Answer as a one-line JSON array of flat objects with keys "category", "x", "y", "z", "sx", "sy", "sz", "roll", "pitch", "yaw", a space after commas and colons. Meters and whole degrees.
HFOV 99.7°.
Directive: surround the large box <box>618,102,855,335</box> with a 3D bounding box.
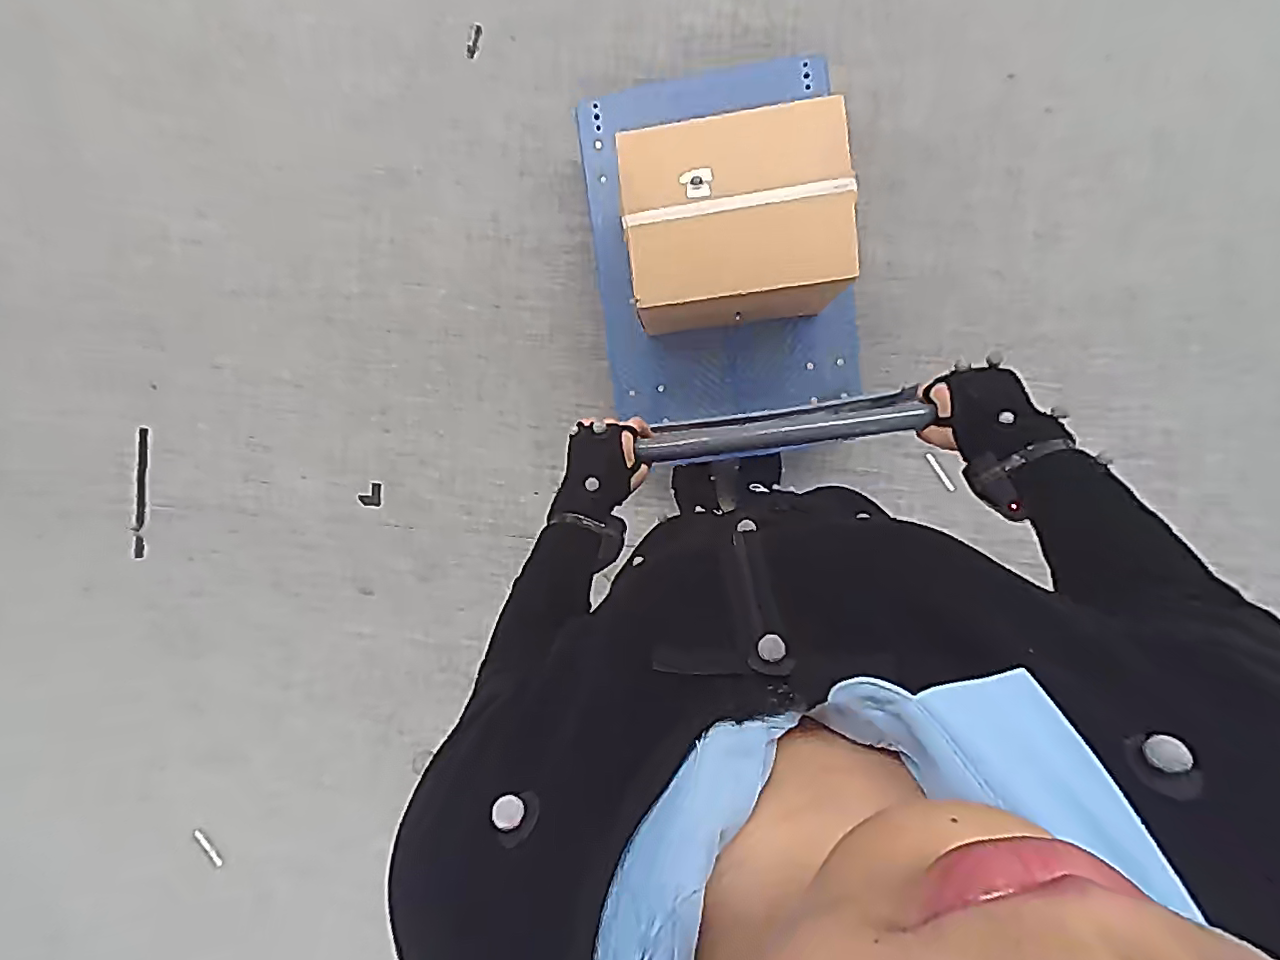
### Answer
[{"category": "large box", "x": 0.191, "y": -0.508, "z": 1.134, "sx": 0.408, "sy": 0.320, "sz": 0.320, "roll": -7, "pitch": 94, "yaw": 7}]
